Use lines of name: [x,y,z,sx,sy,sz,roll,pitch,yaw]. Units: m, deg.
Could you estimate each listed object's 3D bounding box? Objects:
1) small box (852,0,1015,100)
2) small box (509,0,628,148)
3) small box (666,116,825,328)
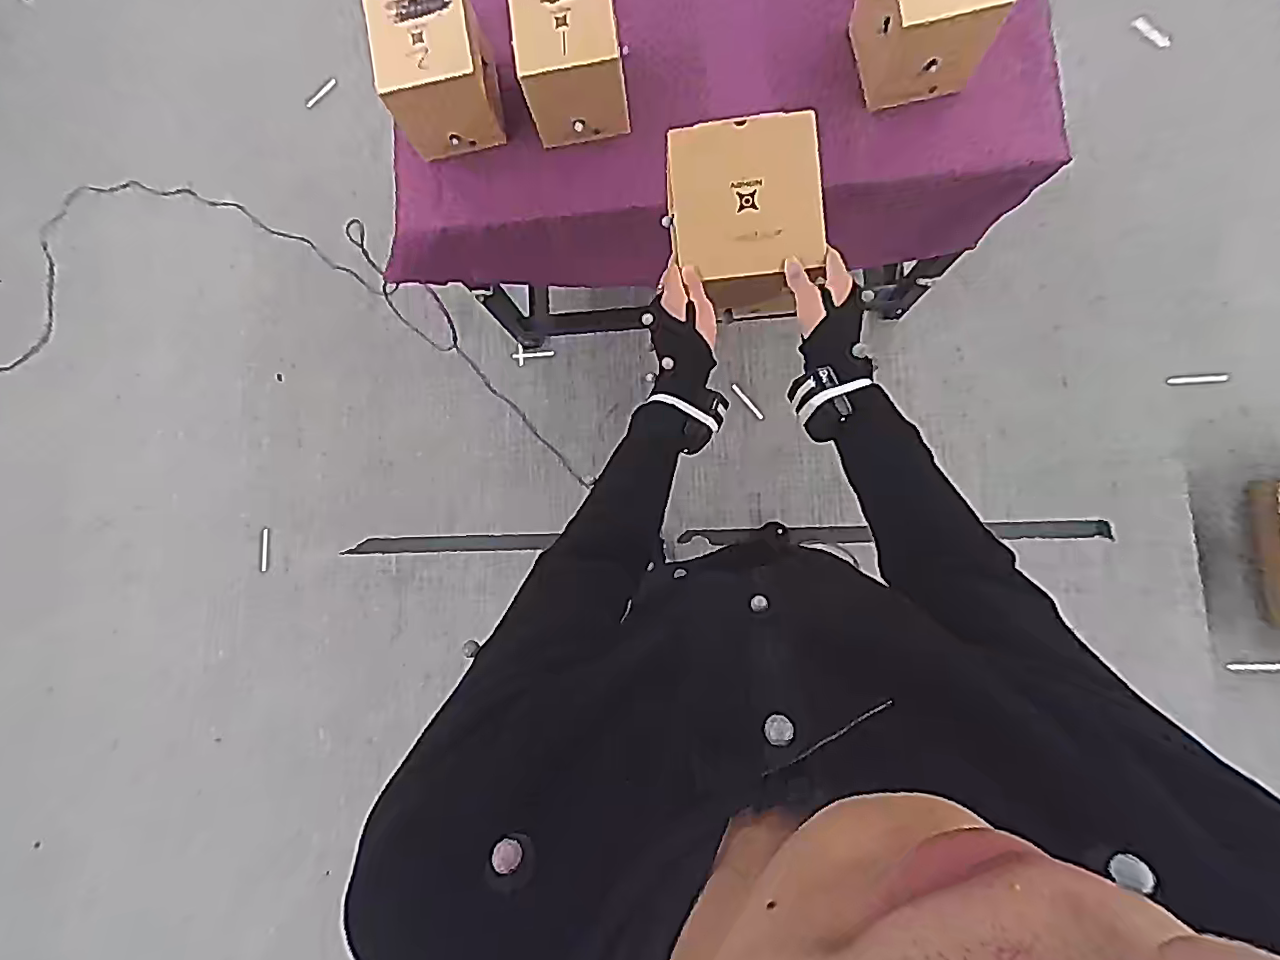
small box: [0.460,-0.756,0.873,0.168,0.176,0.179,-10,83,5]
small box: [-0.117,-0.718,0.929,0.168,0.176,0.179,-7,85,5]
small box: [0.120,-0.306,0.674,0.168,0.176,0.179,-5,89,4]
